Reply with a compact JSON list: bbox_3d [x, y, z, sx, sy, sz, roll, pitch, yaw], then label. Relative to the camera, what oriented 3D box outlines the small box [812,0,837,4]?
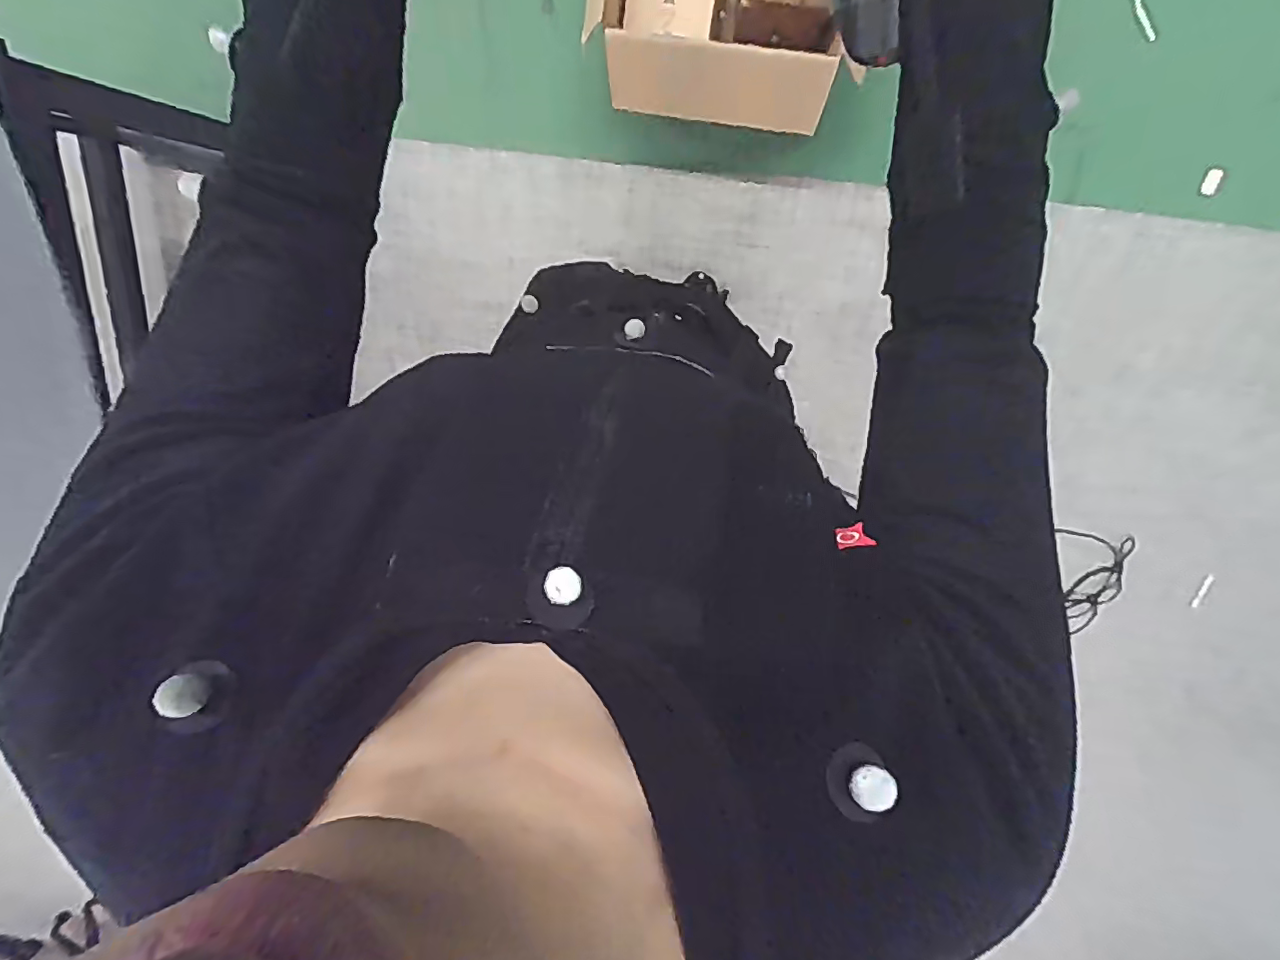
[{"bbox_3d":[0.275,-0.894,0.846,0.168,0.176,0.179,11,112,0],"label":"small box"}]
